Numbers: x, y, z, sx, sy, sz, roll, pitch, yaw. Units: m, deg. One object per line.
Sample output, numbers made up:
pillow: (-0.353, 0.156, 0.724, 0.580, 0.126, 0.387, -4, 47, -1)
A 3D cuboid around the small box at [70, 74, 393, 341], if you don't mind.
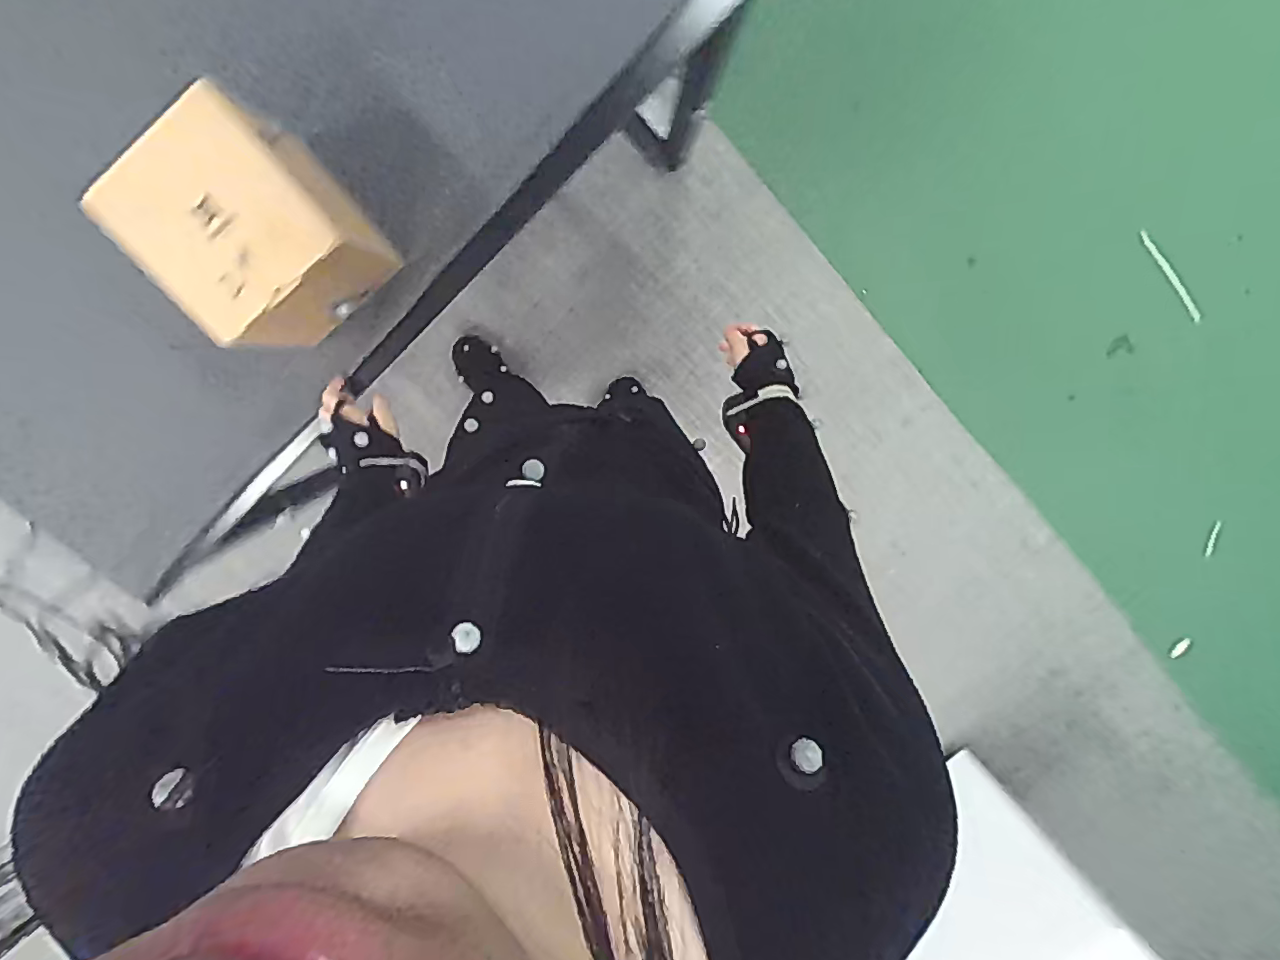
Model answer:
small box: (-0.410, -0.264, 0.580, 0.168, 0.176, 0.179, -39, 103, 6)
